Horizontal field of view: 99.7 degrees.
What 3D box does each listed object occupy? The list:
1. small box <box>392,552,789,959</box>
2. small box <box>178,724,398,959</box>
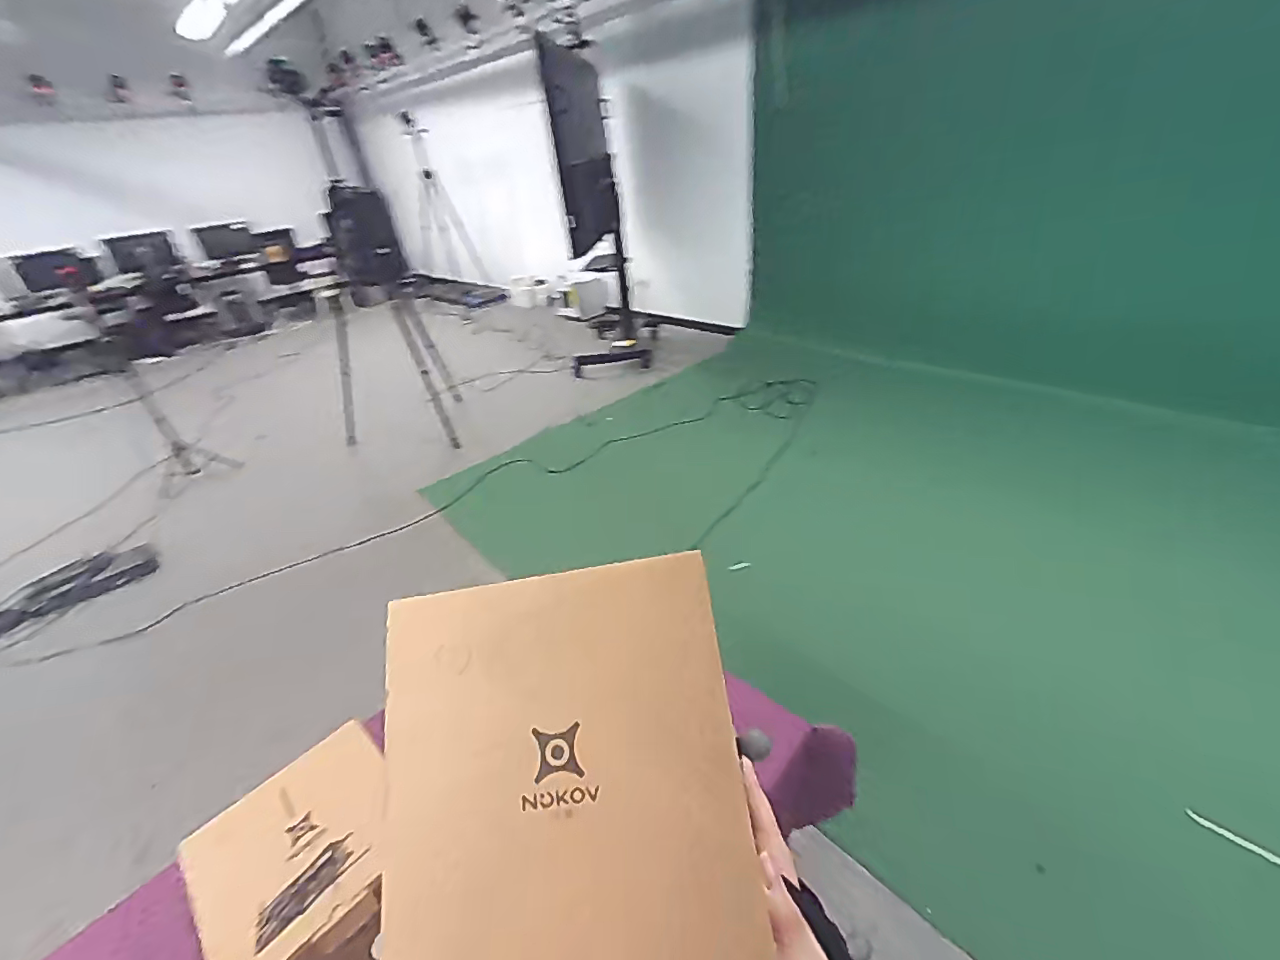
[{"bbox_3d":[-0.023,0.155,0.321,0.168,0.176,0.179,-10,70,3],"label":"small box"},{"bbox_3d":[-0.288,0.387,0.518,0.179,0.176,0.168,20,40,39],"label":"small box"}]
